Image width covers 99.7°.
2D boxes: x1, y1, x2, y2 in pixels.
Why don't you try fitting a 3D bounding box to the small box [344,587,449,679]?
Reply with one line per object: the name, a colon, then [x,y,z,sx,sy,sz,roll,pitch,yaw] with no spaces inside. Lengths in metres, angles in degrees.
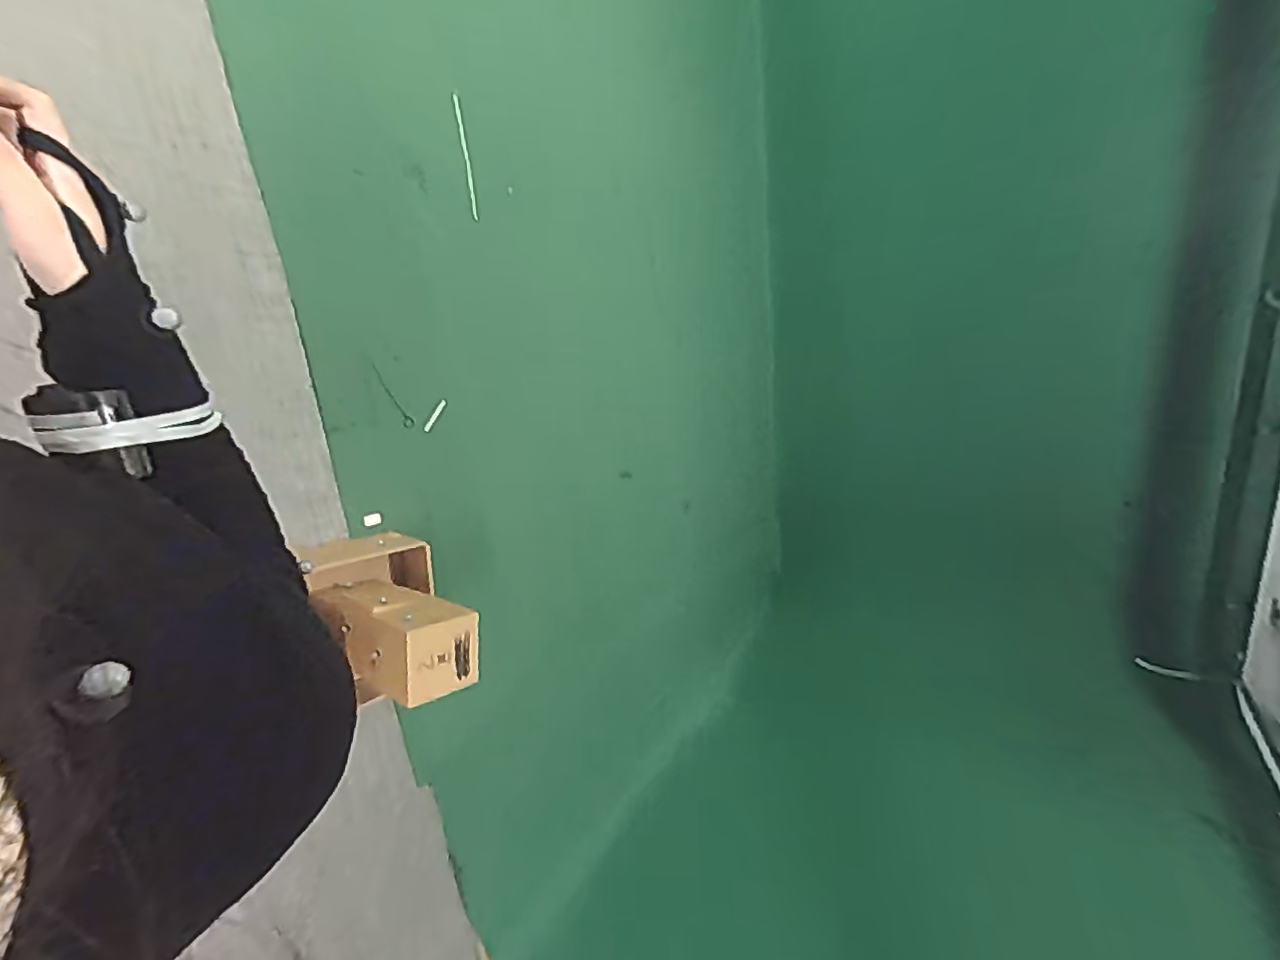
small box: [-0.601,0.367,1.336,0.179,0.176,0.168,4,91,-51]
